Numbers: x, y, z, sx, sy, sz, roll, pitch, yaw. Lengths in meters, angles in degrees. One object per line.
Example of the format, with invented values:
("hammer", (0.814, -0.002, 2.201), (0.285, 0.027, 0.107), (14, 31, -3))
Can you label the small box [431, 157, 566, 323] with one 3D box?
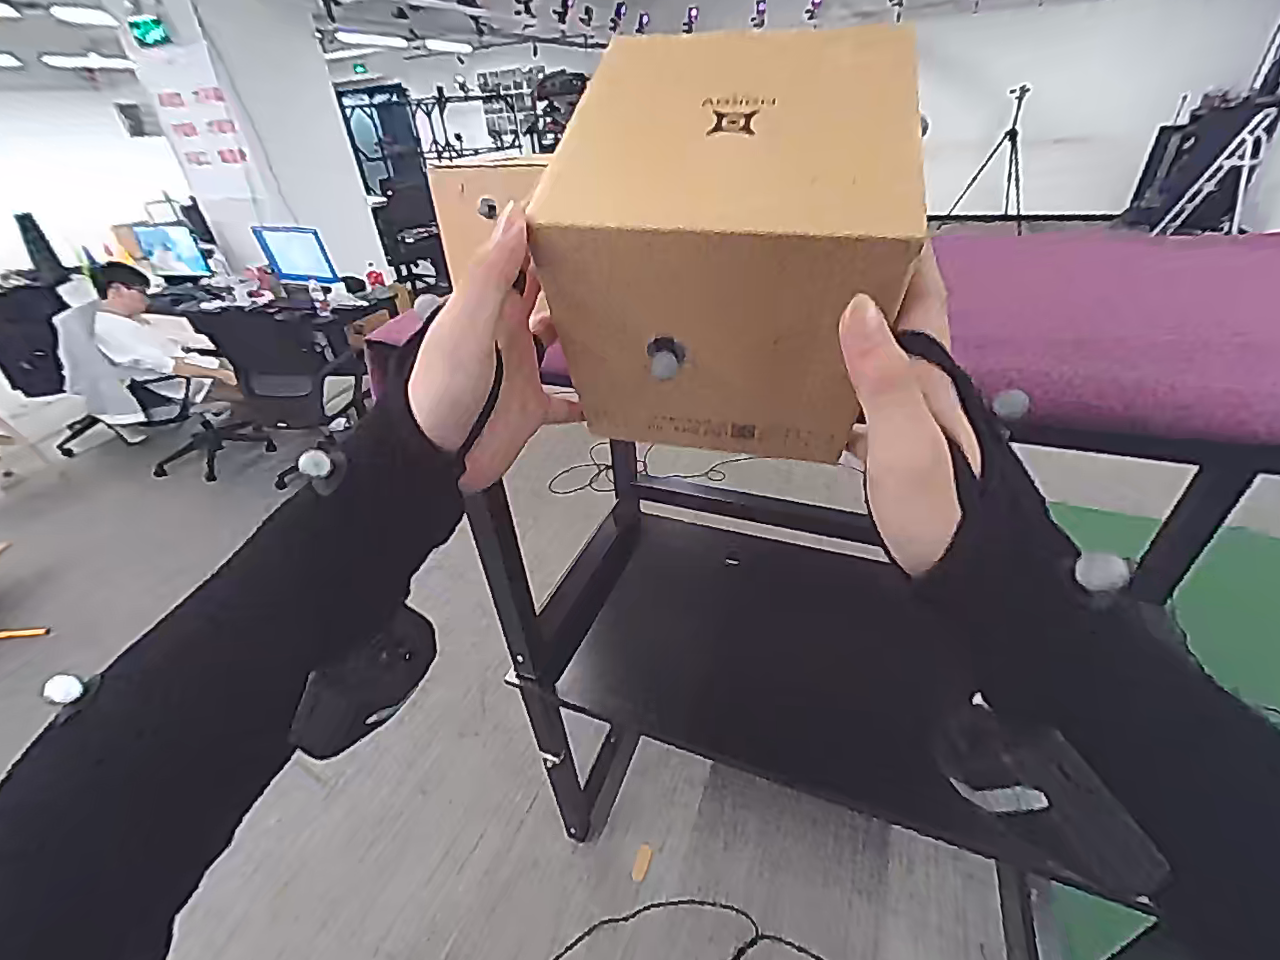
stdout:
("small box", (-0.124, -0.306, 0.684), (0.179, 0.176, 0.168), (12, 36, 20))

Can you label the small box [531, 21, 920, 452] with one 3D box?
("small box", (0.057, -0.135, 0.330), (0.168, 0.176, 0.179), (7, 61, 12))
